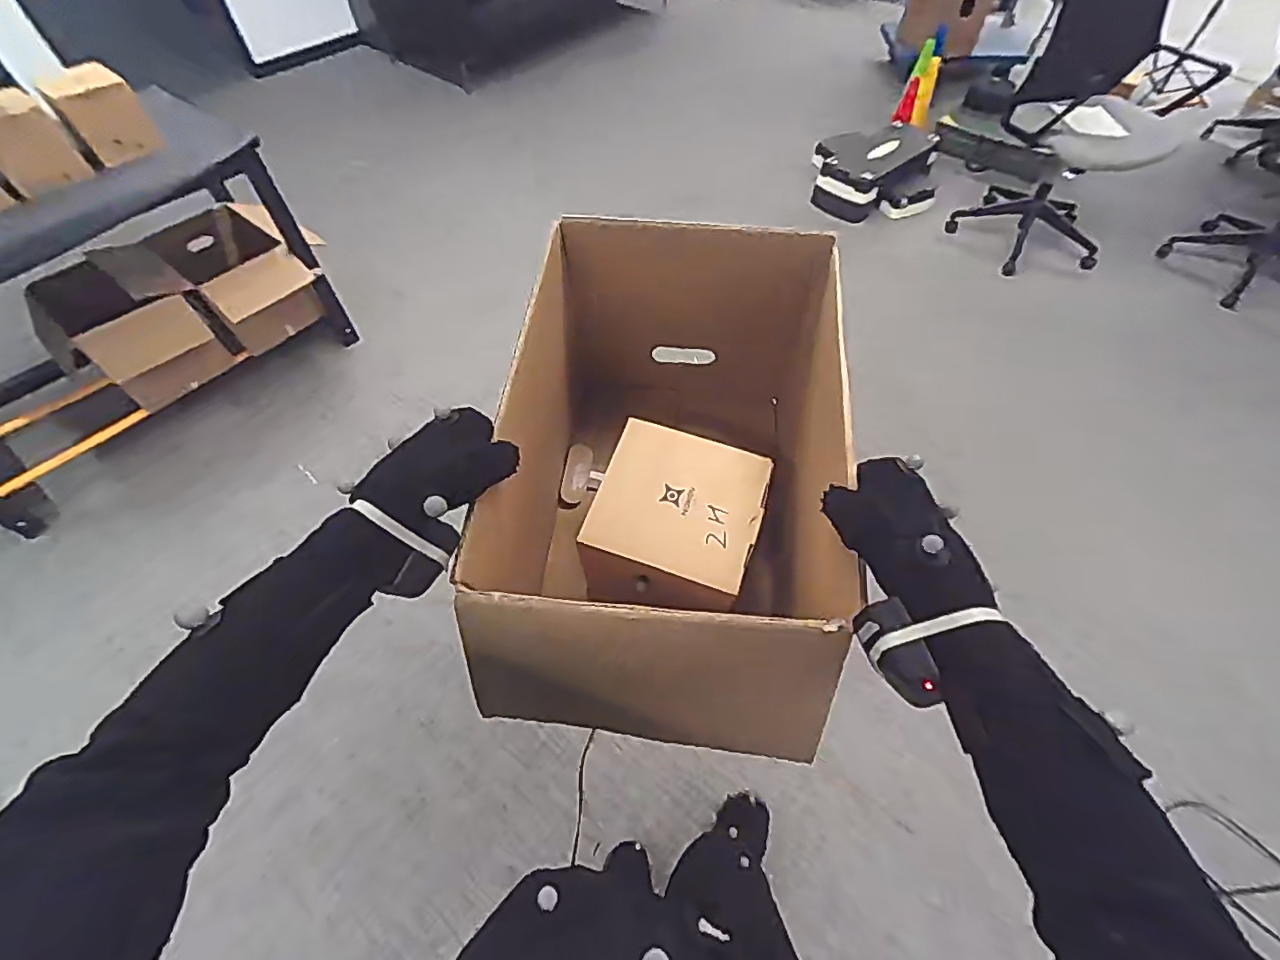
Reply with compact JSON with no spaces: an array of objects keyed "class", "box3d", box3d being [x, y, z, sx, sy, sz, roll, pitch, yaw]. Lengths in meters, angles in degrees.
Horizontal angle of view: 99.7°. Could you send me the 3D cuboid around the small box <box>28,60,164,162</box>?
[{"class":"small box","box3d":[-1.452,-0.988,1.454,0.179,0.176,0.168,35,63,21]}]
